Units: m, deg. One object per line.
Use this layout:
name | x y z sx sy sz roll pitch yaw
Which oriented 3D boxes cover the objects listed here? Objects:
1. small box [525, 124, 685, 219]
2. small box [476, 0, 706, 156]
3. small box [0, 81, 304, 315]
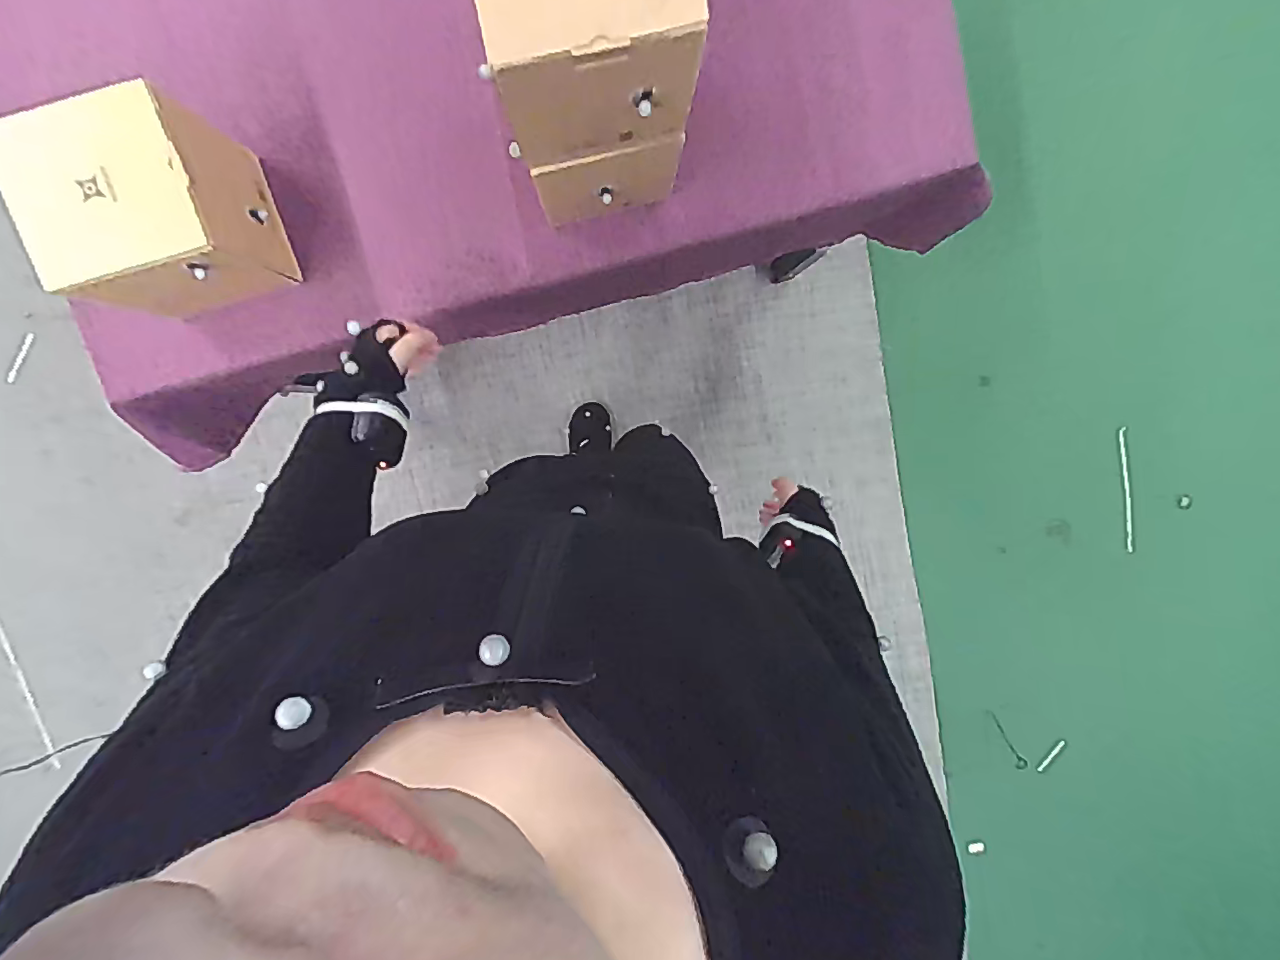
small box | -0.051 -0.424 0.624 0.168 0.176 0.179 -14 97 0
small box | -0.047 -0.407 0.462 0.168 0.176 0.179 -12 97 -1
small box | -0.541 -0.304 0.625 0.179 0.176 0.168 -17 97 -1
